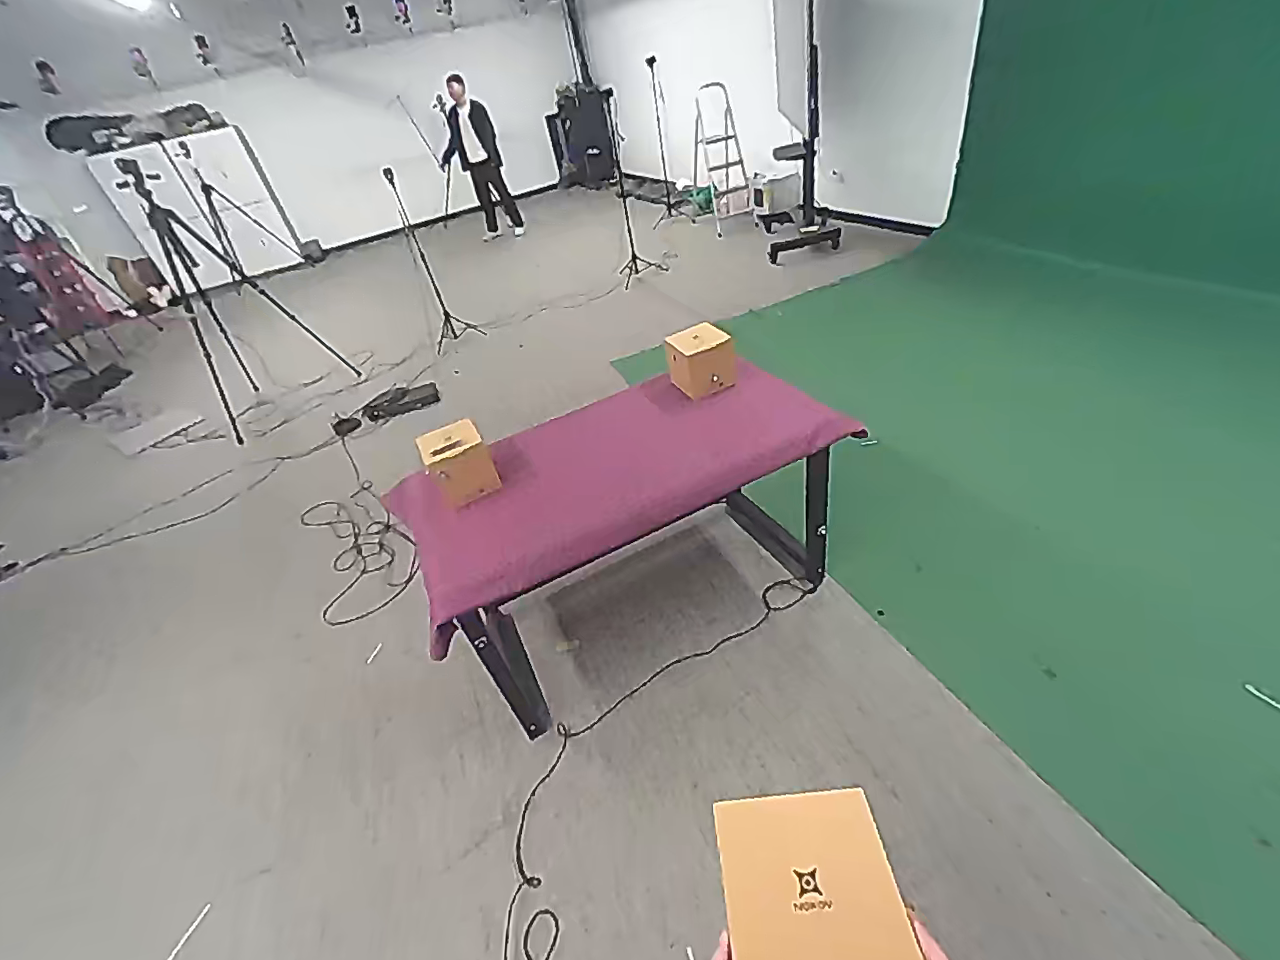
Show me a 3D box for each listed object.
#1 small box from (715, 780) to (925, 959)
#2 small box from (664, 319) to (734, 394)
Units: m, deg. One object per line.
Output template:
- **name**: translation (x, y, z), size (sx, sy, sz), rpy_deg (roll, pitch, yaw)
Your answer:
- **small box**: translation (0.172, 0.450, 0.566), size (0.168, 0.176, 0.179), rpy_deg (-7, 35, 3)
- **small box**: translation (0.197, -0.410, 1.799), size (0.168, 0.176, 0.179), rpy_deg (-25, 40, -11)
